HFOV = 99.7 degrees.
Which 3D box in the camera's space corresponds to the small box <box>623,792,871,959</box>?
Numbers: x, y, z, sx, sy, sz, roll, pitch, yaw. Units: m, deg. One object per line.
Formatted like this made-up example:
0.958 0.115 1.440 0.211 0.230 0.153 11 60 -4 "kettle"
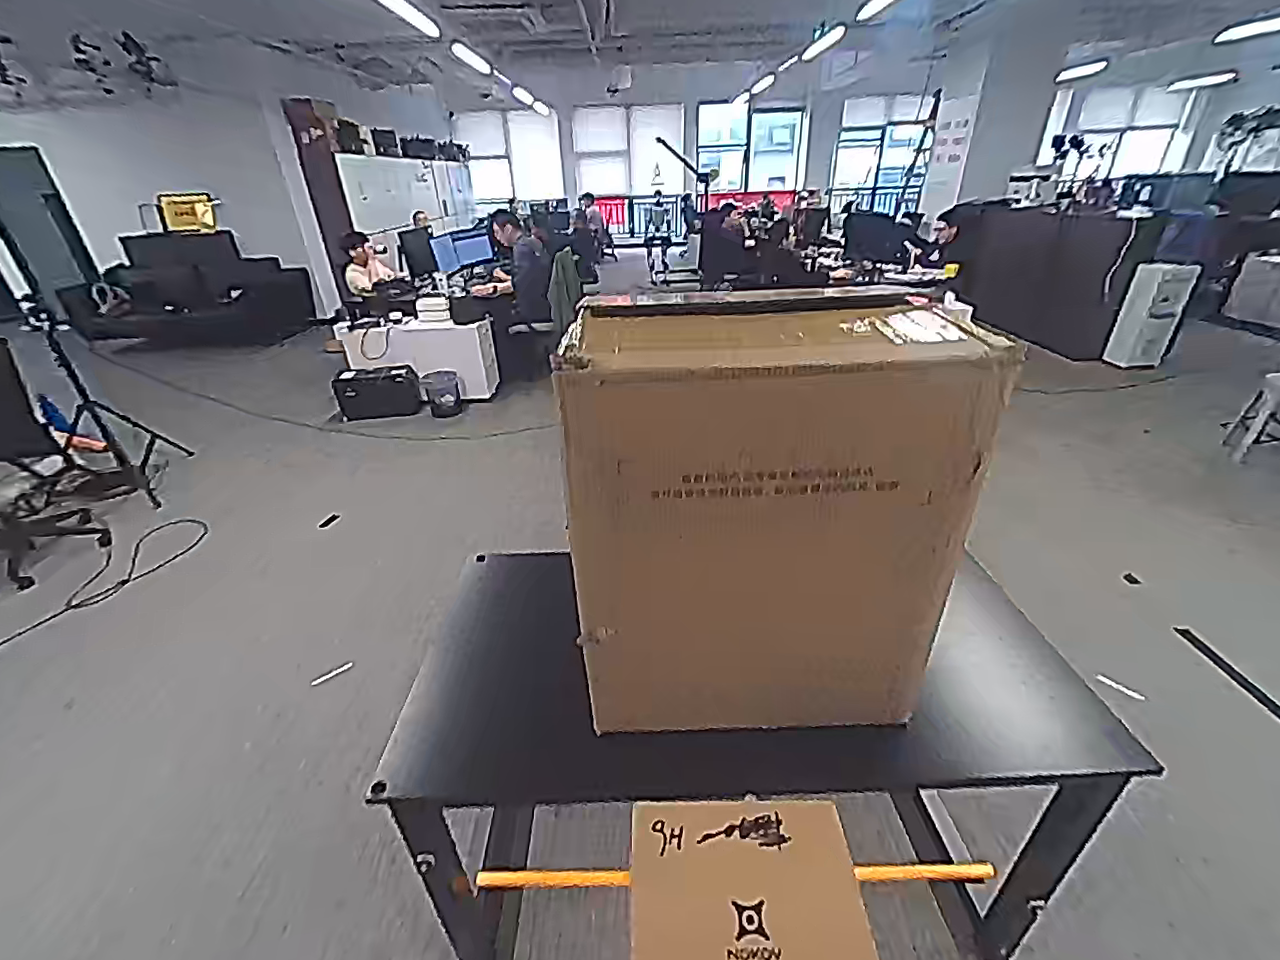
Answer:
0.073 0.370 0.416 0.168 0.176 0.179 -1 35 1 "small box"
